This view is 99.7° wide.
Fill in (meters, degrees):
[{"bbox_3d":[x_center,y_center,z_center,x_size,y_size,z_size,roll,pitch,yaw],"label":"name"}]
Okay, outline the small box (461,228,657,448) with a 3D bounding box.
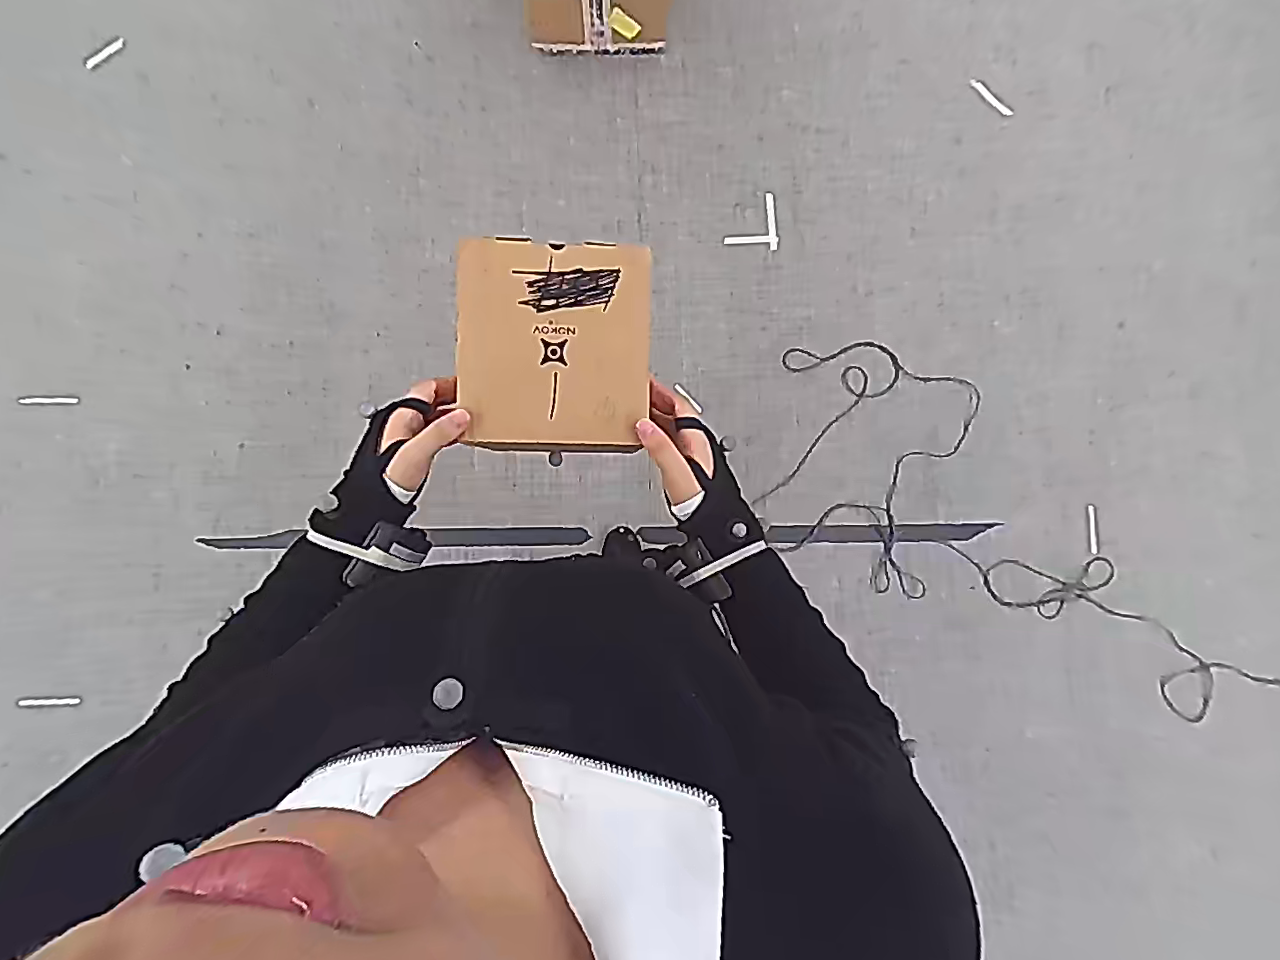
[{"bbox_3d":[-0.077,-0.127,0.546,0.168,0.176,0.179,1,91,-5],"label":"small box"}]
